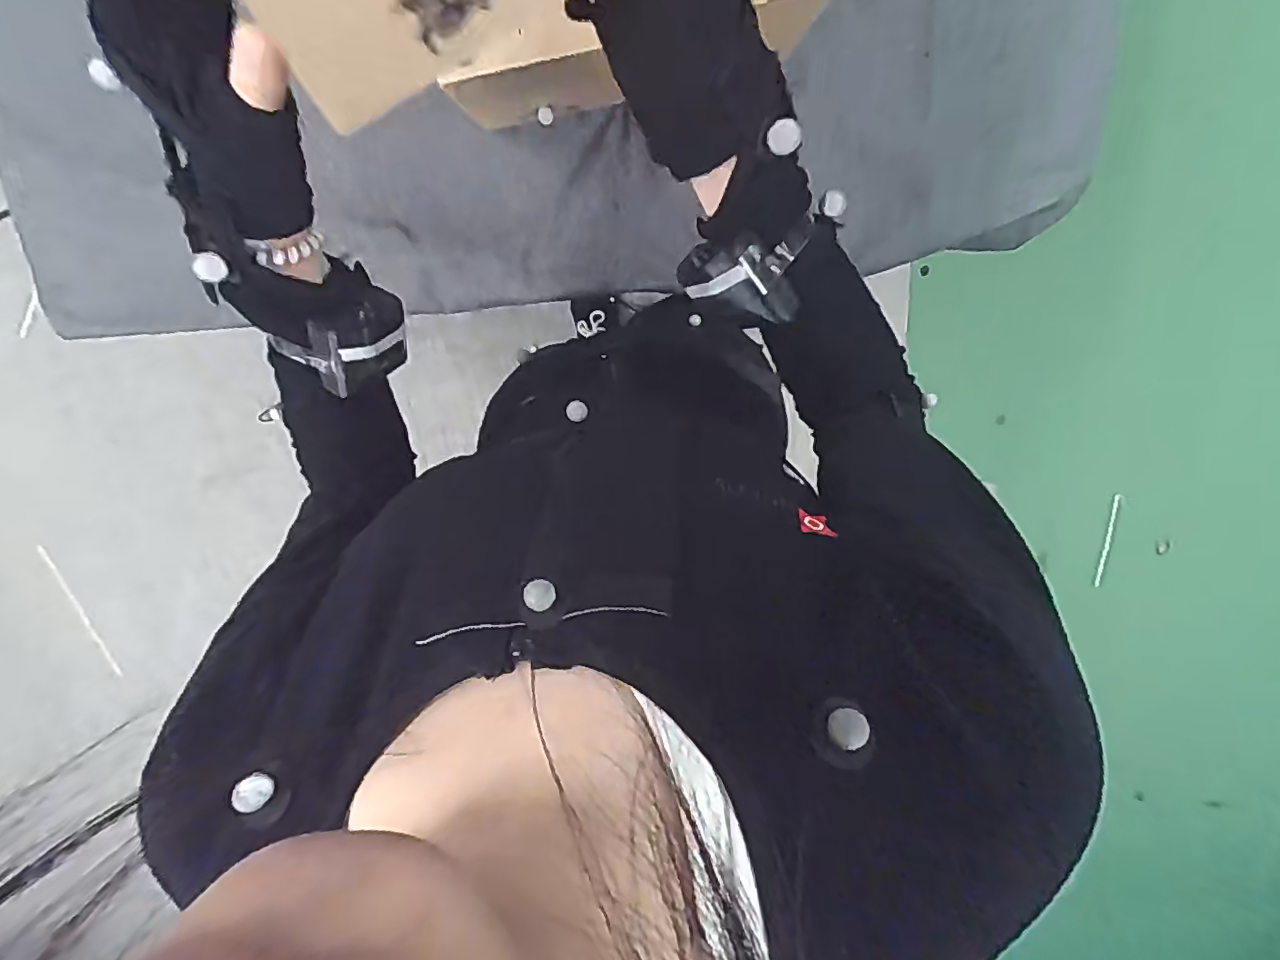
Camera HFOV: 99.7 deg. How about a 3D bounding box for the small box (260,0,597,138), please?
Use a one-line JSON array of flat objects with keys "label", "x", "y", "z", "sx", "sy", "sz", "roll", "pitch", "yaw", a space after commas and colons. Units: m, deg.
[{"label": "small box", "x": -0.101, "y": -0.268, "z": 0.167, "sx": 0.168, "sy": 0.179, "sz": 0.176, "roll": -38, "pitch": 75, "yaw": -6}]
